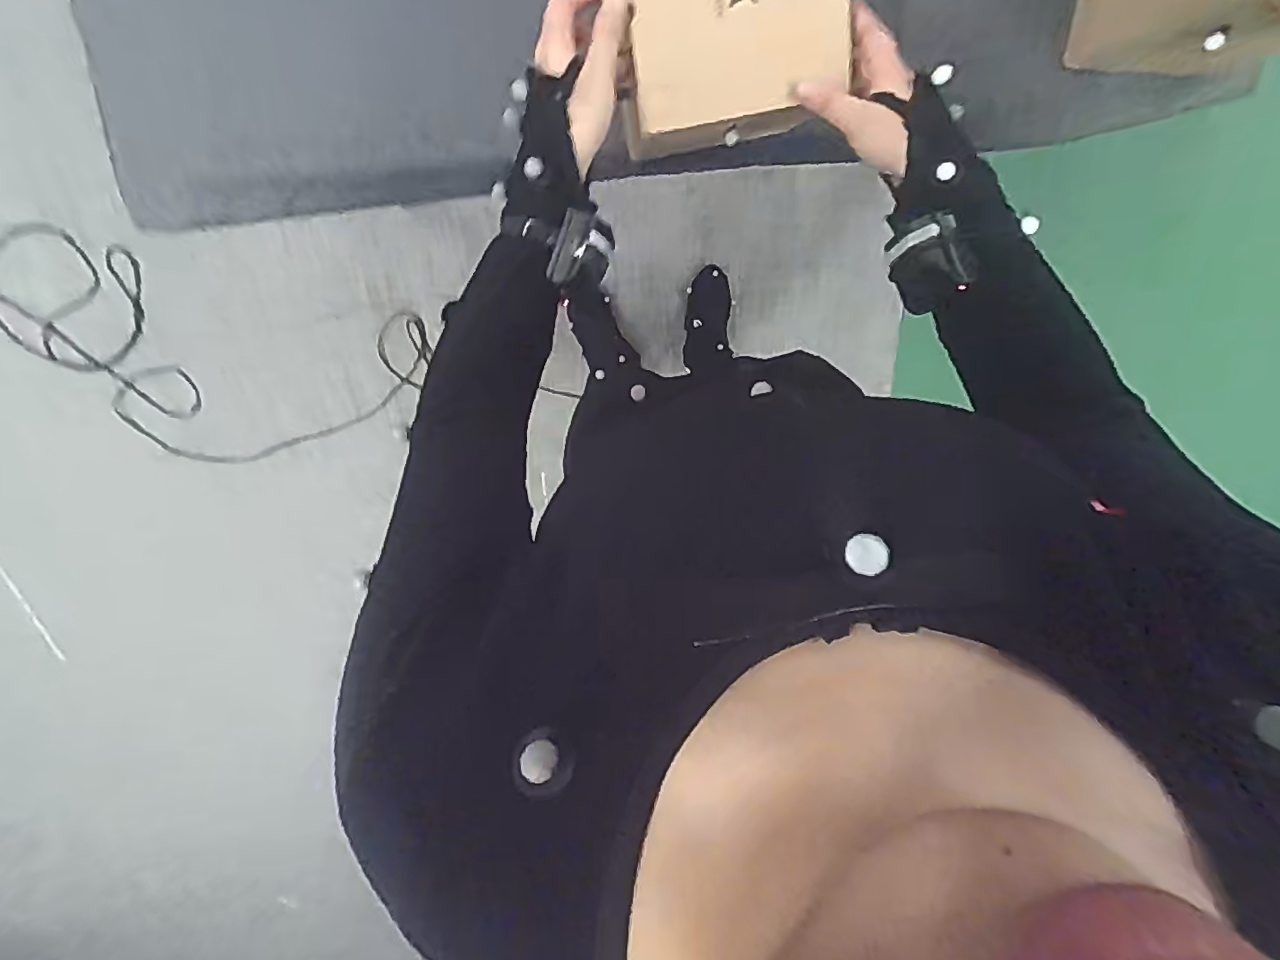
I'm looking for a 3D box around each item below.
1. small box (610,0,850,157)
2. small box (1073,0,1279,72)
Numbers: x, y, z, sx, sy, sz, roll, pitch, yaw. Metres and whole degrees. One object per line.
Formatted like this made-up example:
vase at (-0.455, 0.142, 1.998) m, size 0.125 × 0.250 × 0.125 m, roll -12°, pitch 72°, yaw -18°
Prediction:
small box at (0.068, -0.404, 0.484) m, size 0.179 × 0.176 × 0.168 m, roll -12°, pitch 116°, yaw 1°
small box at (0.546, -0.490, 0.481) m, size 0.179 × 0.176 × 0.168 m, roll 0°, pitch 111°, yaw -4°
